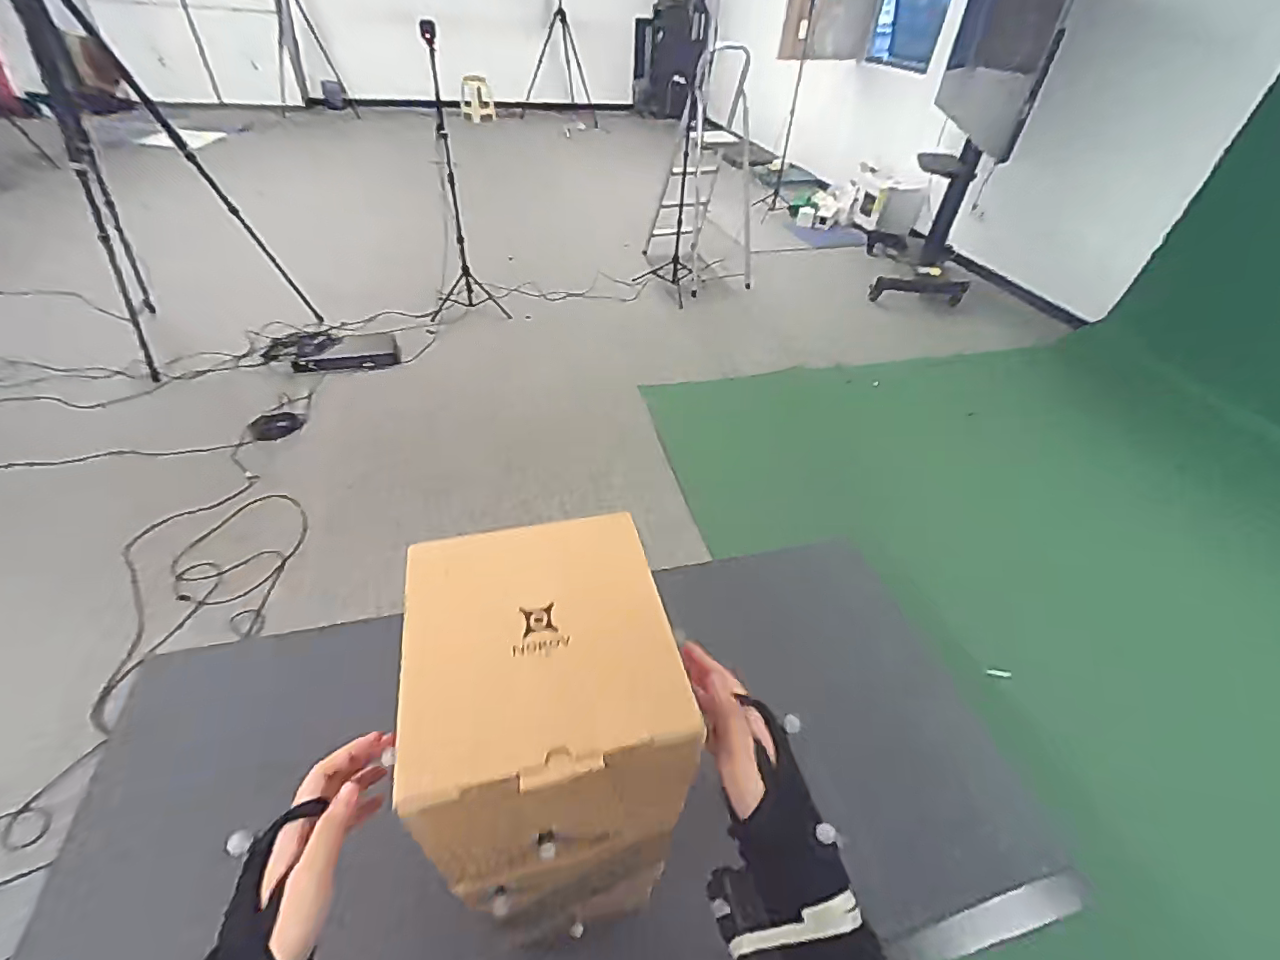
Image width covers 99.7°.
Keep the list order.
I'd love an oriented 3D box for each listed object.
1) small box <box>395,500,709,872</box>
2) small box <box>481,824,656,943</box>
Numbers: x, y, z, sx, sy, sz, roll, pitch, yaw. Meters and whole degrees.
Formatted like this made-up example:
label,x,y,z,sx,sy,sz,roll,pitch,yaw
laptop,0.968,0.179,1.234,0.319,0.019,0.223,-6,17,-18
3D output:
label,x,y,z,sx,sy,sz,roll,pitch,yaw
small box,-0.067,0.141,0.390,0.168,0.176,0.179,-8,43,-14
small box,-0.086,0.380,0.612,0.168,0.176,0.179,-7,43,-12
